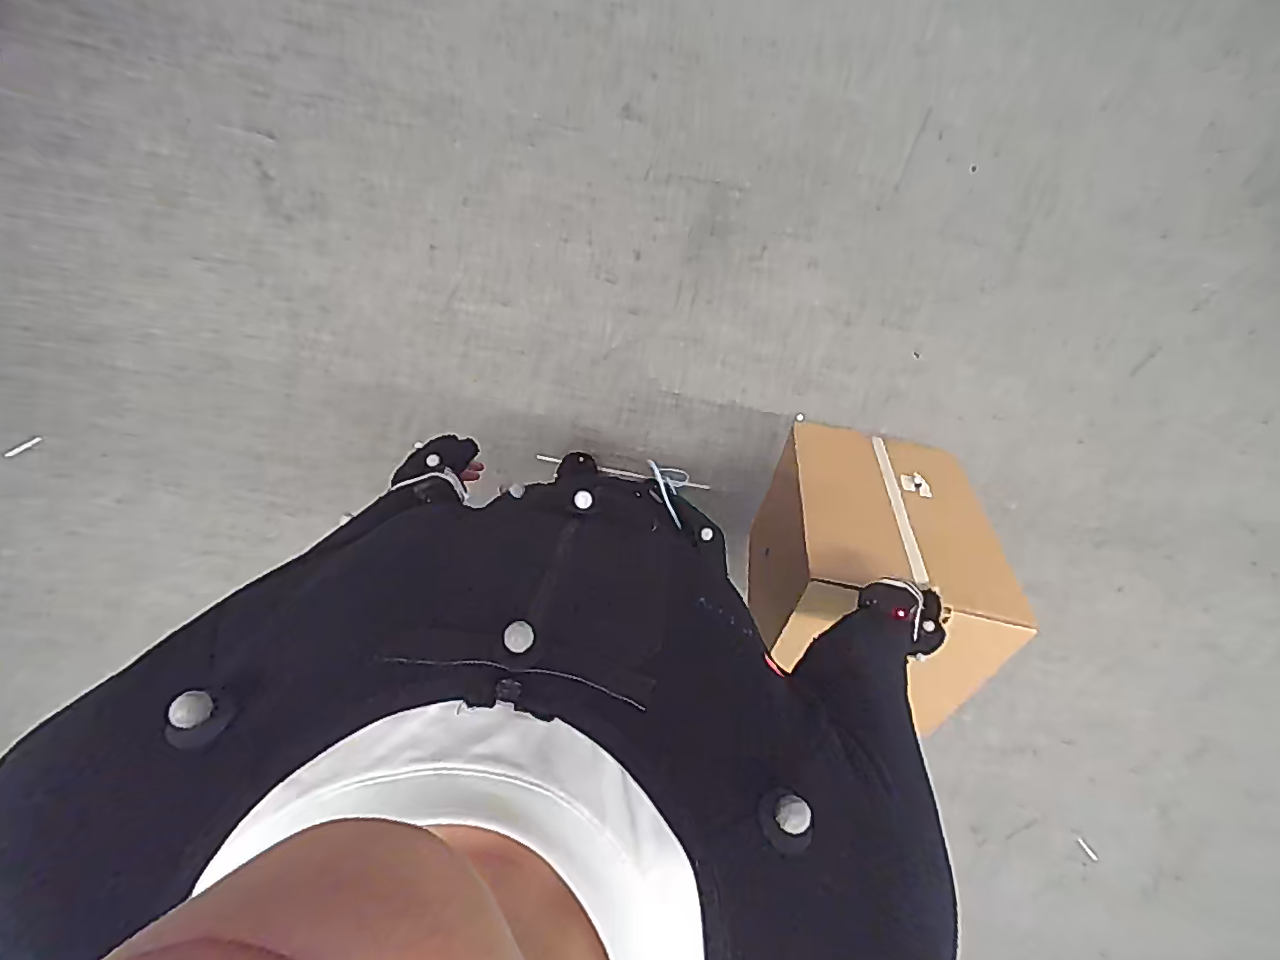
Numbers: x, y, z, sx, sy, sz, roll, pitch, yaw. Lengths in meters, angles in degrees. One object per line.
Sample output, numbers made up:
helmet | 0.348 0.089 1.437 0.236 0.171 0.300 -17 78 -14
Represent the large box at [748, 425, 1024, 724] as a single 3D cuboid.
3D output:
large box | 0.385 0.158 0.985 0.320 0.408 0.320 14 128 1
